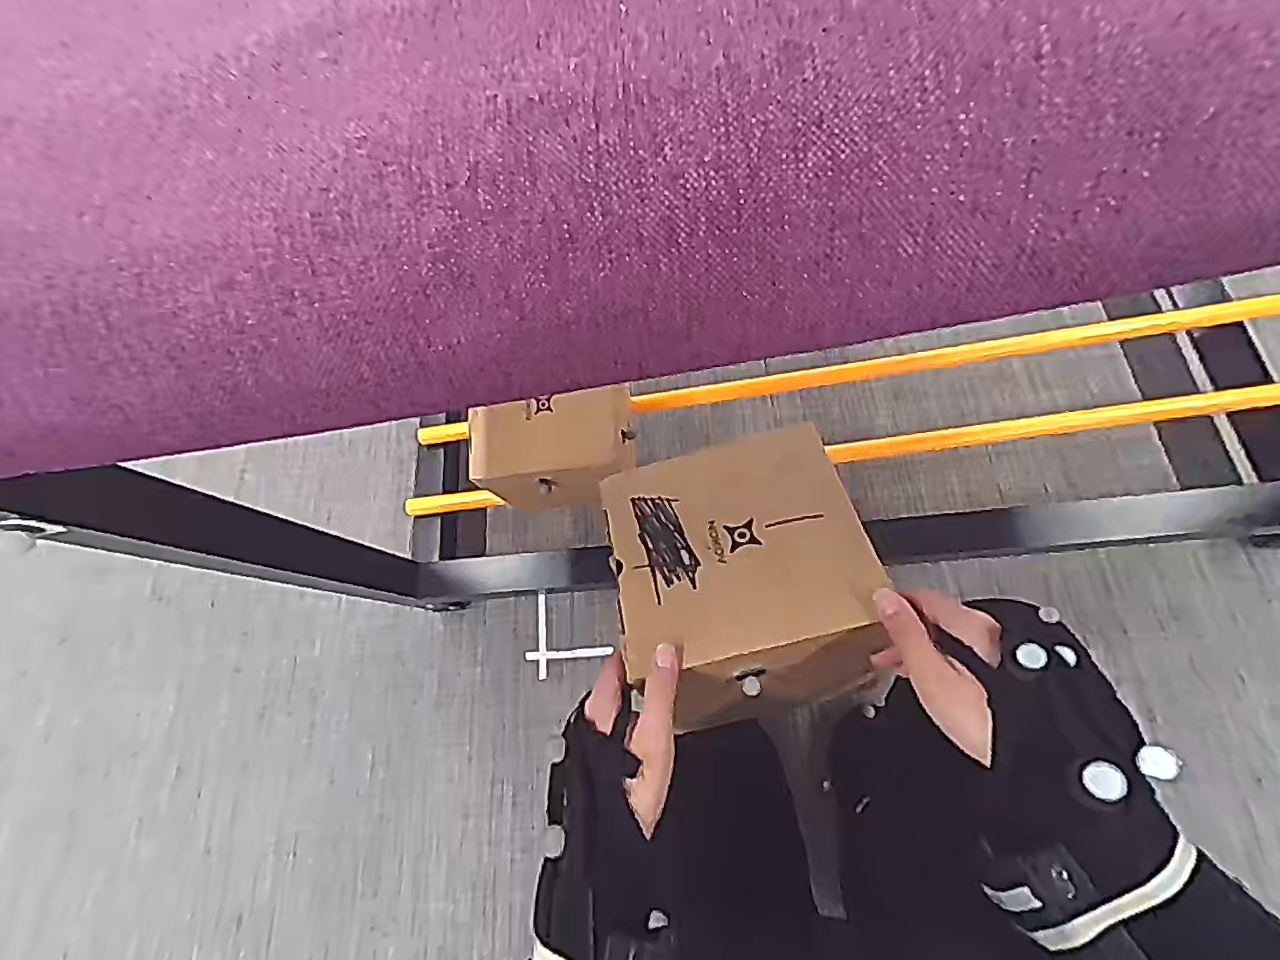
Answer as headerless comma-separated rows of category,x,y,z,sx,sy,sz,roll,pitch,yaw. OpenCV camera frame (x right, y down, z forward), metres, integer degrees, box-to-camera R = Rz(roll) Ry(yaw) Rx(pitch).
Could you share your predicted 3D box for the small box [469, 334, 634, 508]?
small box,-0.104,-0.067,0.708,0.179,0.176,0.168,-7,72,8
